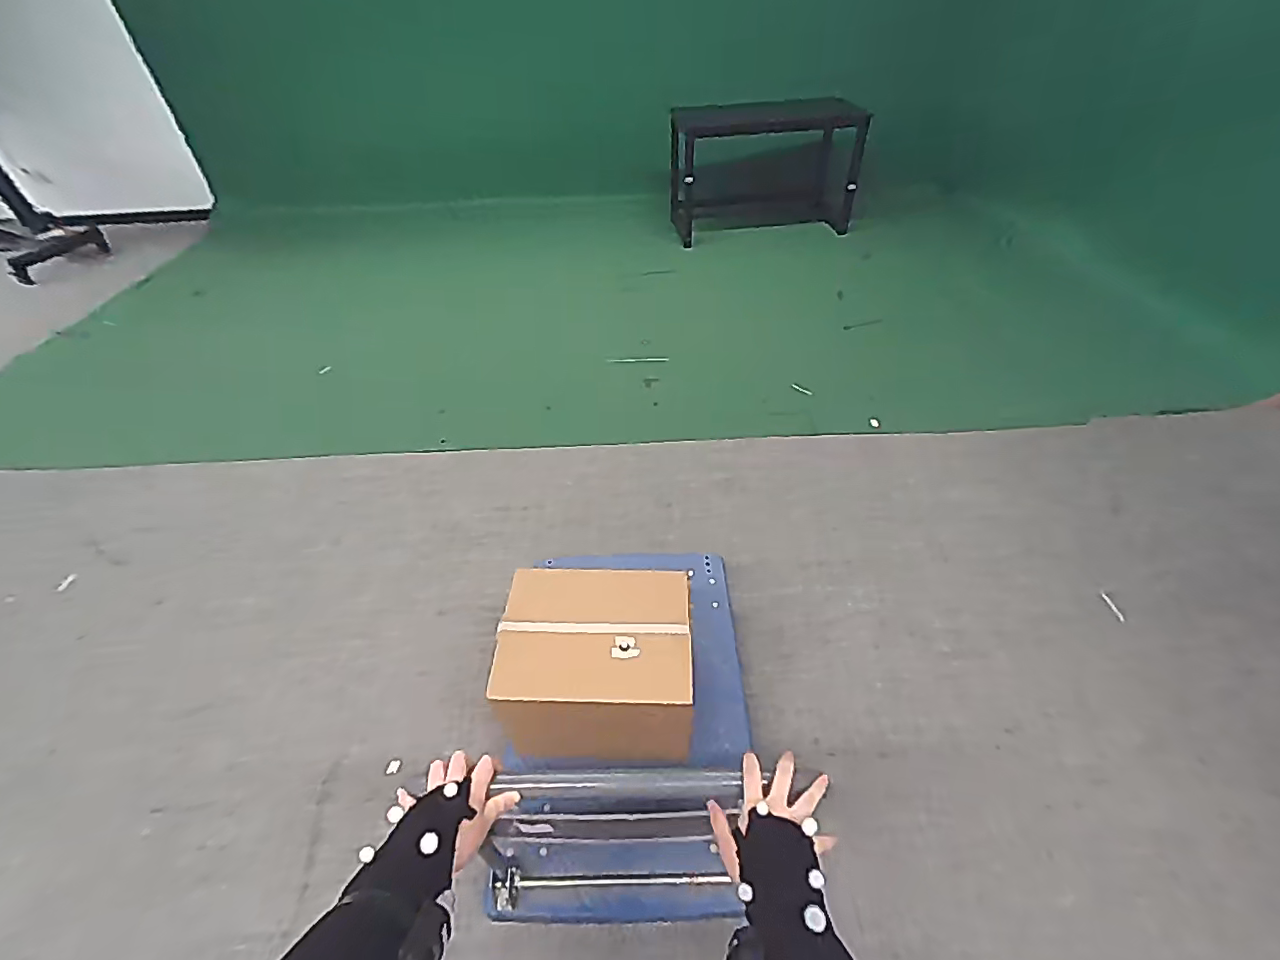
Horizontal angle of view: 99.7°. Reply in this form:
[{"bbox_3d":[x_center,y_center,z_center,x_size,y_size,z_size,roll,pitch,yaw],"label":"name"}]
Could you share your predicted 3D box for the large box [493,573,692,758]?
[{"bbox_3d":[-0.094,0.436,1.272,0.408,0.320,0.320,1,44,1],"label":"large box"}]
